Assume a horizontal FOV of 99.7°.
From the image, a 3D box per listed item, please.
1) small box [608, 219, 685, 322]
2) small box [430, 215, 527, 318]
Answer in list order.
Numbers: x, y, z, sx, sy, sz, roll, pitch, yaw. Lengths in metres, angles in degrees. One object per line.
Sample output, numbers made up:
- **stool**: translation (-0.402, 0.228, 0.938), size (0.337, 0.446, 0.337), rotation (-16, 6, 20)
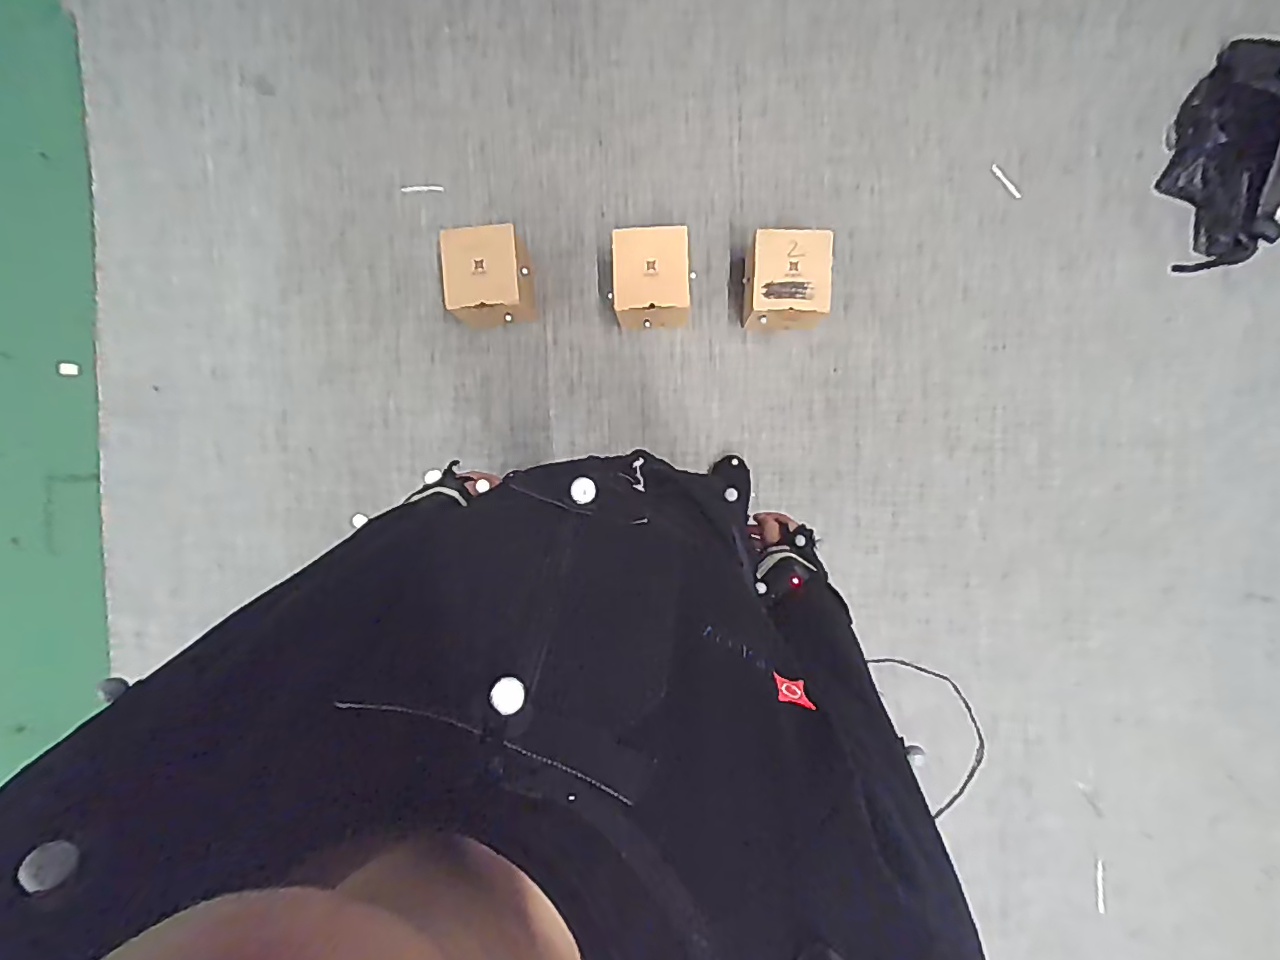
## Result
- **small box**: translation (0.014, -0.469, 1.229), size (0.168, 0.176, 0.179), rotation (-2, 93, 1)
- **small box**: translation (-0.361, -0.478, 1.238), size (0.168, 0.176, 0.179), rotation (-4, 92, 1)
